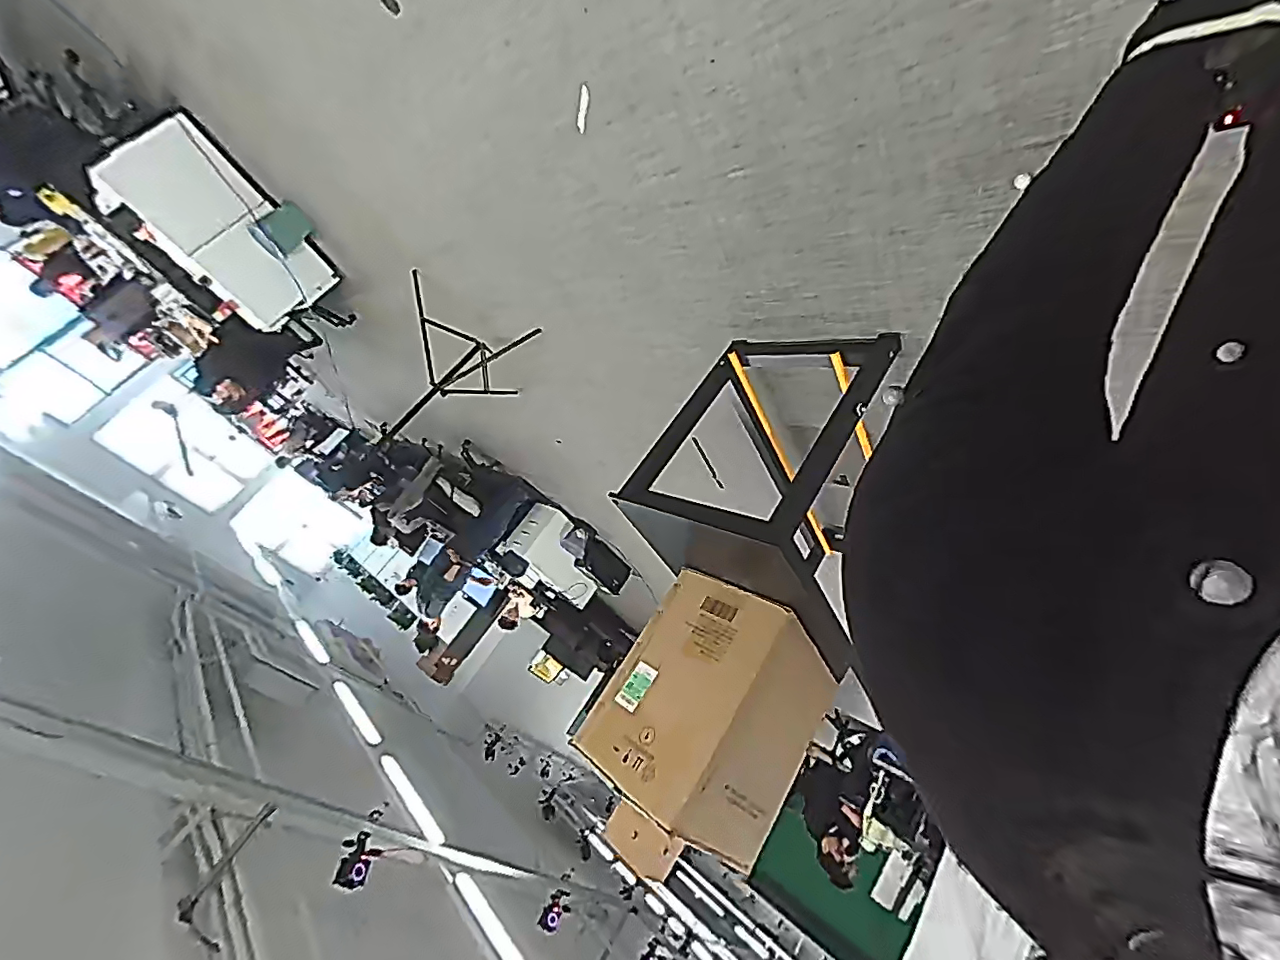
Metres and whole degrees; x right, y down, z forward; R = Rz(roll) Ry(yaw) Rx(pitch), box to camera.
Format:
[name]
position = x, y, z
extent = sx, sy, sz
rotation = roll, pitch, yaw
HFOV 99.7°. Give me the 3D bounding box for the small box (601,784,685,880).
[small box]
position = 0.019, 1.086, 1.675
extent = 0.179, 0.176, 0.168
rotation = 16, 151, 46
